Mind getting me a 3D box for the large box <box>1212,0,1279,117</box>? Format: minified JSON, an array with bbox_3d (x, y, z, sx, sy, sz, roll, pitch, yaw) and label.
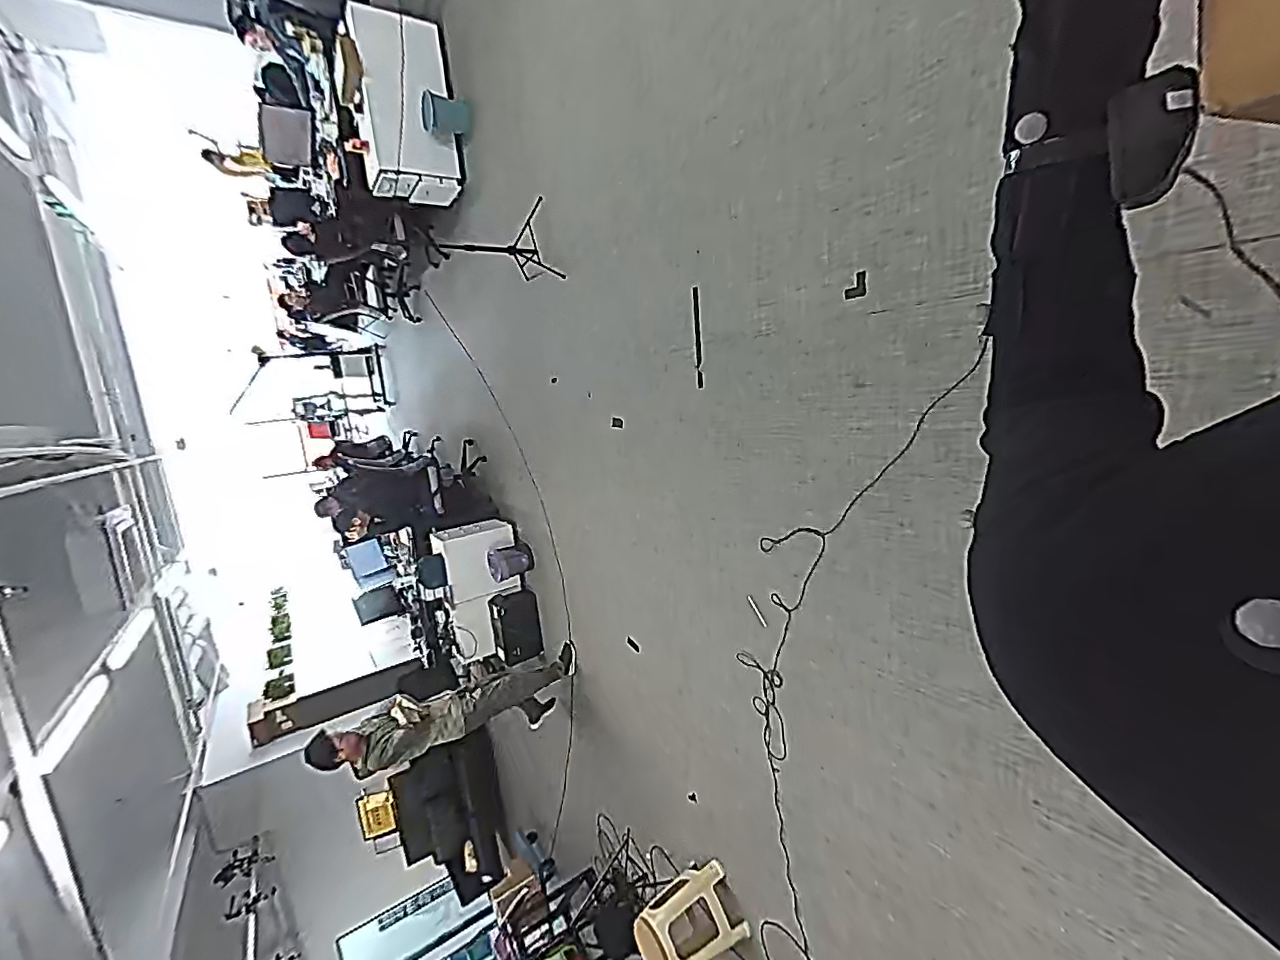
[{"bbox_3d":[0.500,-0.378,0.171,0.408,0.320,0.320,6,114,56],"label":"large box"}]
